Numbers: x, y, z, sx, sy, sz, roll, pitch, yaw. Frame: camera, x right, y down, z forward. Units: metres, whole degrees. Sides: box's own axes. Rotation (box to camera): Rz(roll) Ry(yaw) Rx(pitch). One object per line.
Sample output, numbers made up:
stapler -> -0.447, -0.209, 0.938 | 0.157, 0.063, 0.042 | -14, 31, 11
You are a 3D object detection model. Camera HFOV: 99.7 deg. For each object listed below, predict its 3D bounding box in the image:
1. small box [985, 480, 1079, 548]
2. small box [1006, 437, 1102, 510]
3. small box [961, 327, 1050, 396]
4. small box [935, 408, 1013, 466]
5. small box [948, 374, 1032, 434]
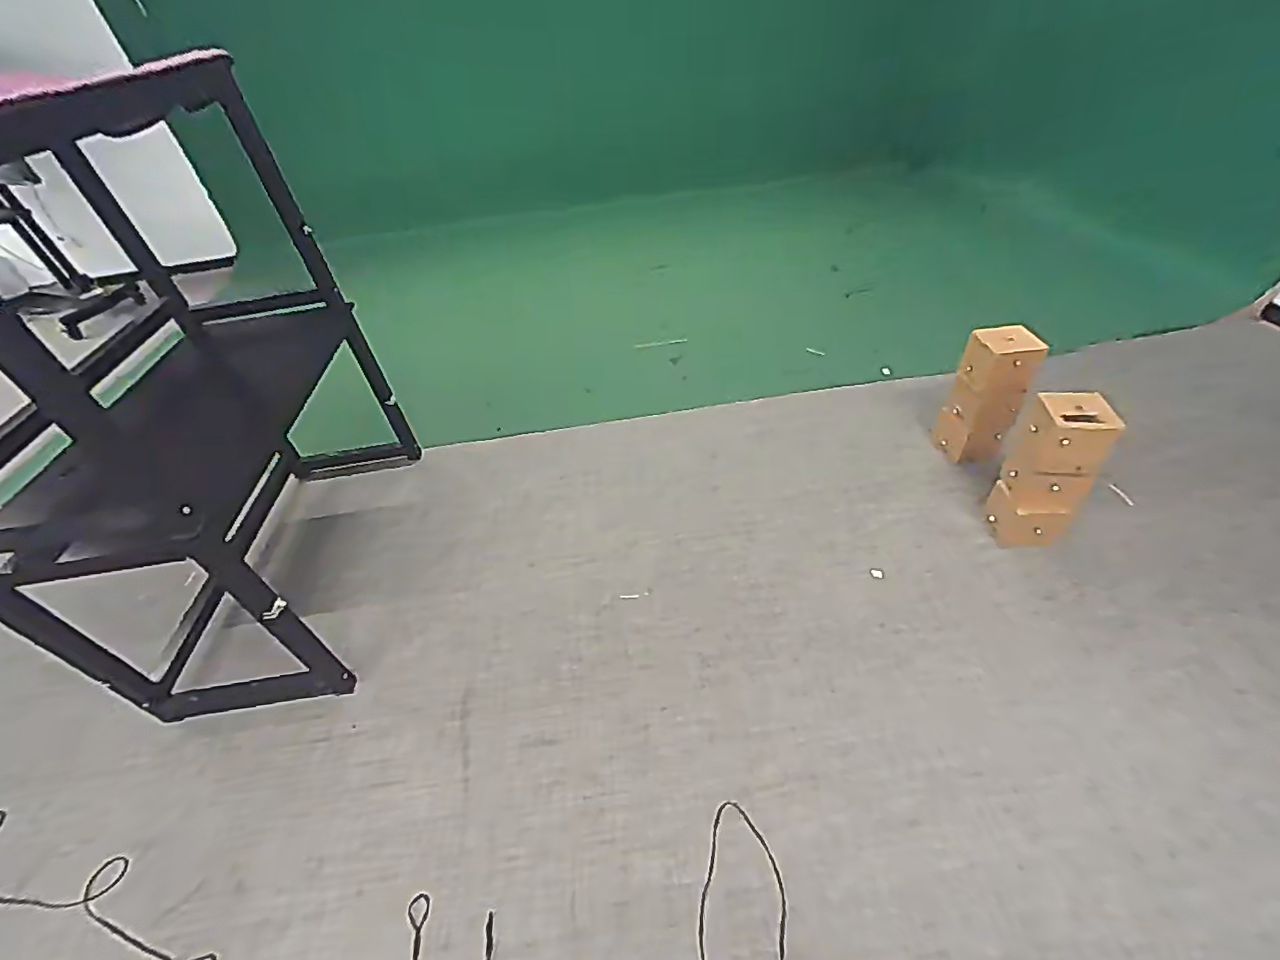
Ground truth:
small box -> 1.289, 0.114, 1.793 | 0.179, 0.176, 0.168 | -2, 43, 7
small box -> 1.283, -0.019, 1.696 | 0.179, 0.176, 0.168 | 1, 43, 10
small box -> 1.262, -0.411, 1.883 | 0.179, 0.176, 0.168 | -6, 42, 1
small box -> 1.292, -0.177, 2.106 | 0.179, 0.176, 0.168 | -11, 42, -4
small box -> 1.281, -0.292, 1.993 | 0.179, 0.176, 0.168 | -11, 42, -3
